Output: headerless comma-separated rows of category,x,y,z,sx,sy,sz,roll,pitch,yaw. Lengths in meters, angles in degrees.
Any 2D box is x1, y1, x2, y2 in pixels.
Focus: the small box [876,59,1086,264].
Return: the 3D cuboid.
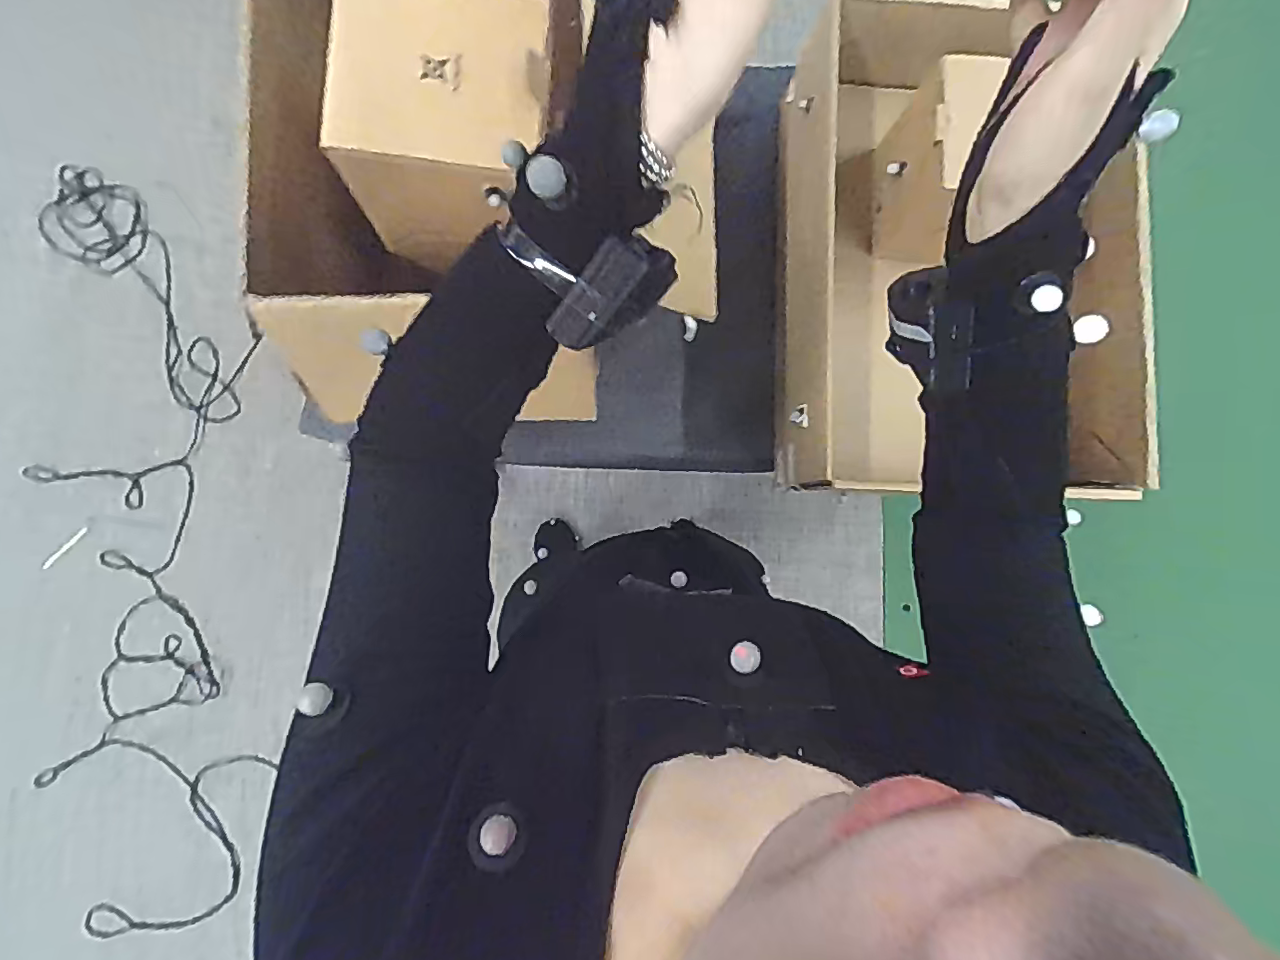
small box,0.429,-0.400,0.706,0.179,0.176,0.168,4,87,-2
